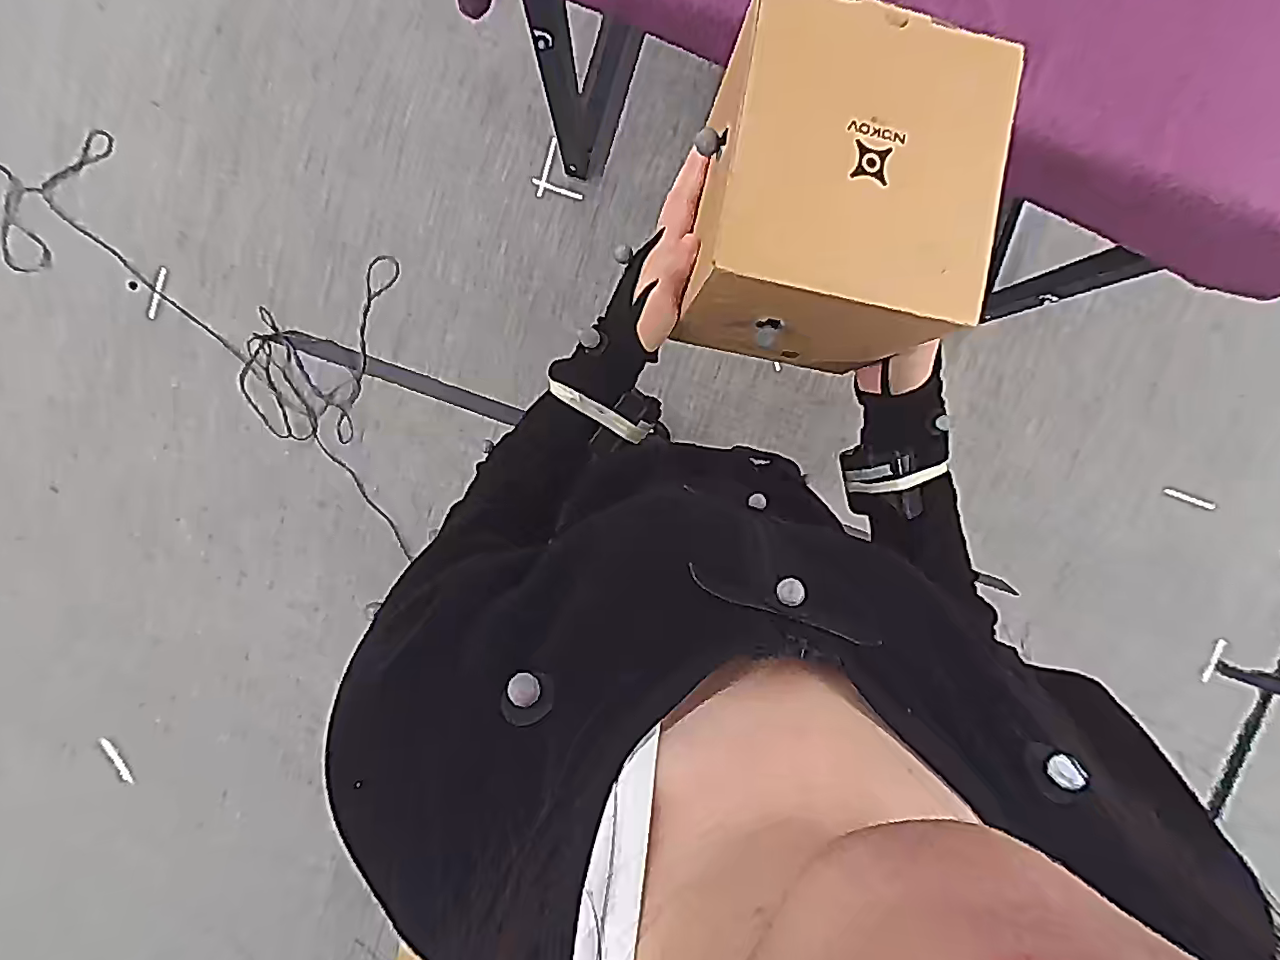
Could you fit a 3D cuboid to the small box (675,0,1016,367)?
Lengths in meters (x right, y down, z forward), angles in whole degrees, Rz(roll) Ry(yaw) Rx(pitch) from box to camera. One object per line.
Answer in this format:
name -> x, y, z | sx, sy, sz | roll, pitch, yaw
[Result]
small box -> 0.128, -0.194, 0.401 | 0.168, 0.176, 0.179 | 10, 89, -7
